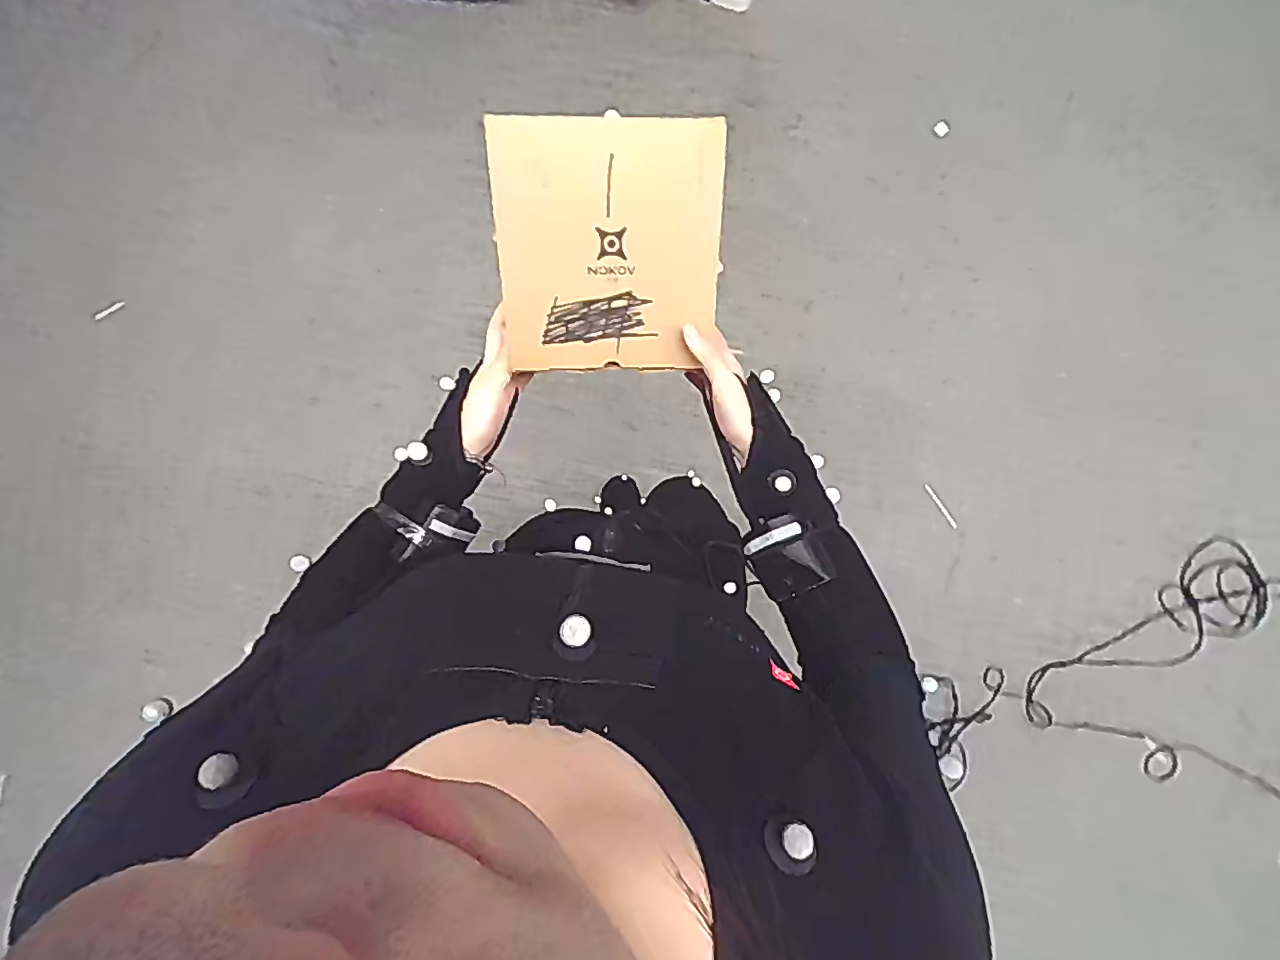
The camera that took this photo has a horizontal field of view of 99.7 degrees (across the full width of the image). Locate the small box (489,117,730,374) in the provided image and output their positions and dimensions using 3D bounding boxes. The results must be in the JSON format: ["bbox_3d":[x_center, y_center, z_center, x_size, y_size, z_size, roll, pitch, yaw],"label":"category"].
[{"bbox_3d":[-0.027,-0.202,0.472,0.168,0.176,0.179,-2,118,-5],"label":"small box"}]
